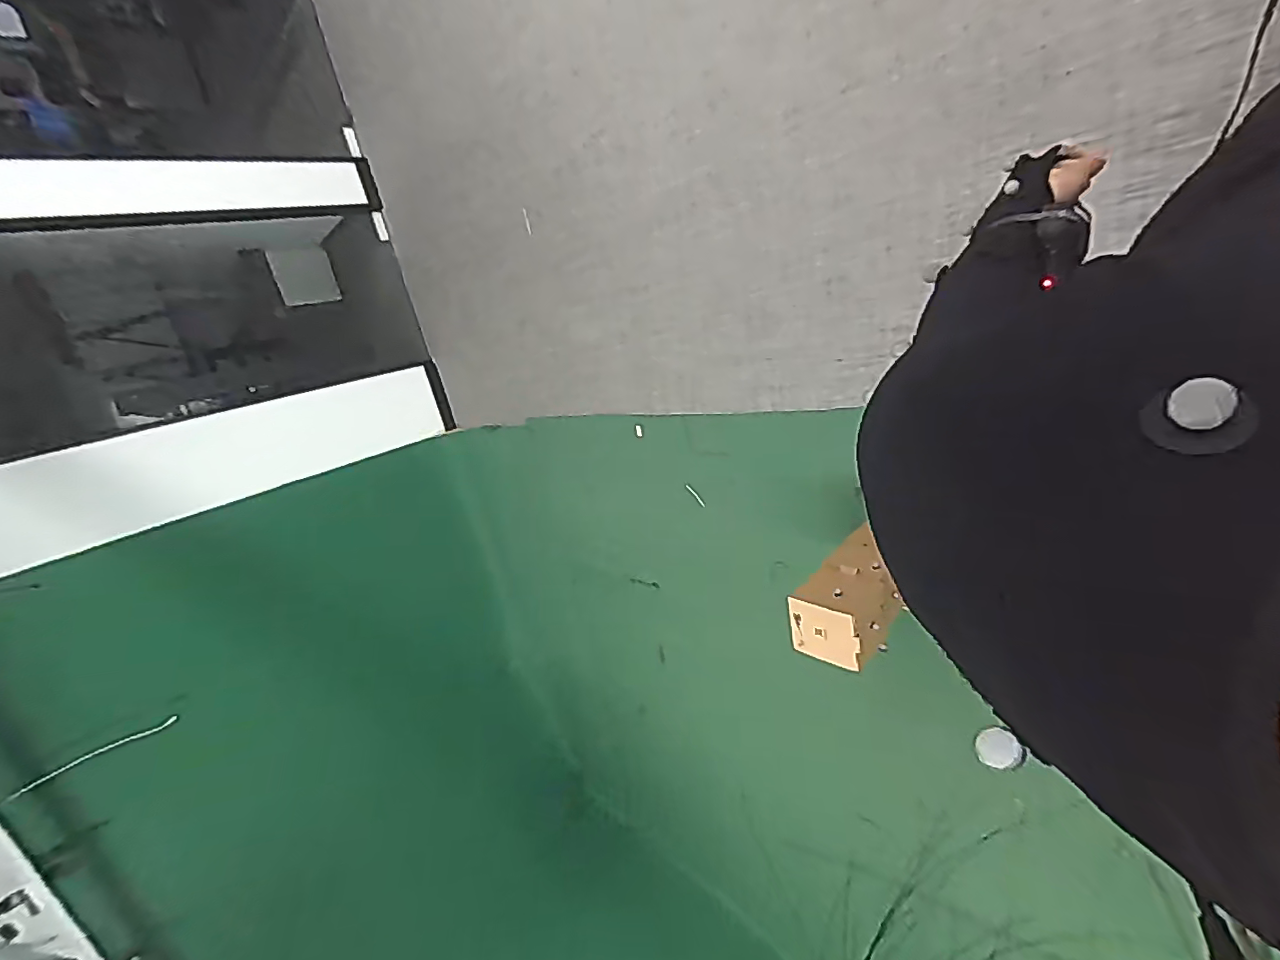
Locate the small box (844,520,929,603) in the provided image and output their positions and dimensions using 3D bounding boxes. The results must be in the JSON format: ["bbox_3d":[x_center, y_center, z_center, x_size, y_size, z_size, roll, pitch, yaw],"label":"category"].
[{"bbox_3d":[0.722,0.229,1.588,0.179,0.176,0.168,11,118,45],"label":"small box"}]

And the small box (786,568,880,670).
[{"bbox_3d":[0.497,0.344,1.377,0.179,0.176,0.168,9,117,45],"label":"small box"}]
